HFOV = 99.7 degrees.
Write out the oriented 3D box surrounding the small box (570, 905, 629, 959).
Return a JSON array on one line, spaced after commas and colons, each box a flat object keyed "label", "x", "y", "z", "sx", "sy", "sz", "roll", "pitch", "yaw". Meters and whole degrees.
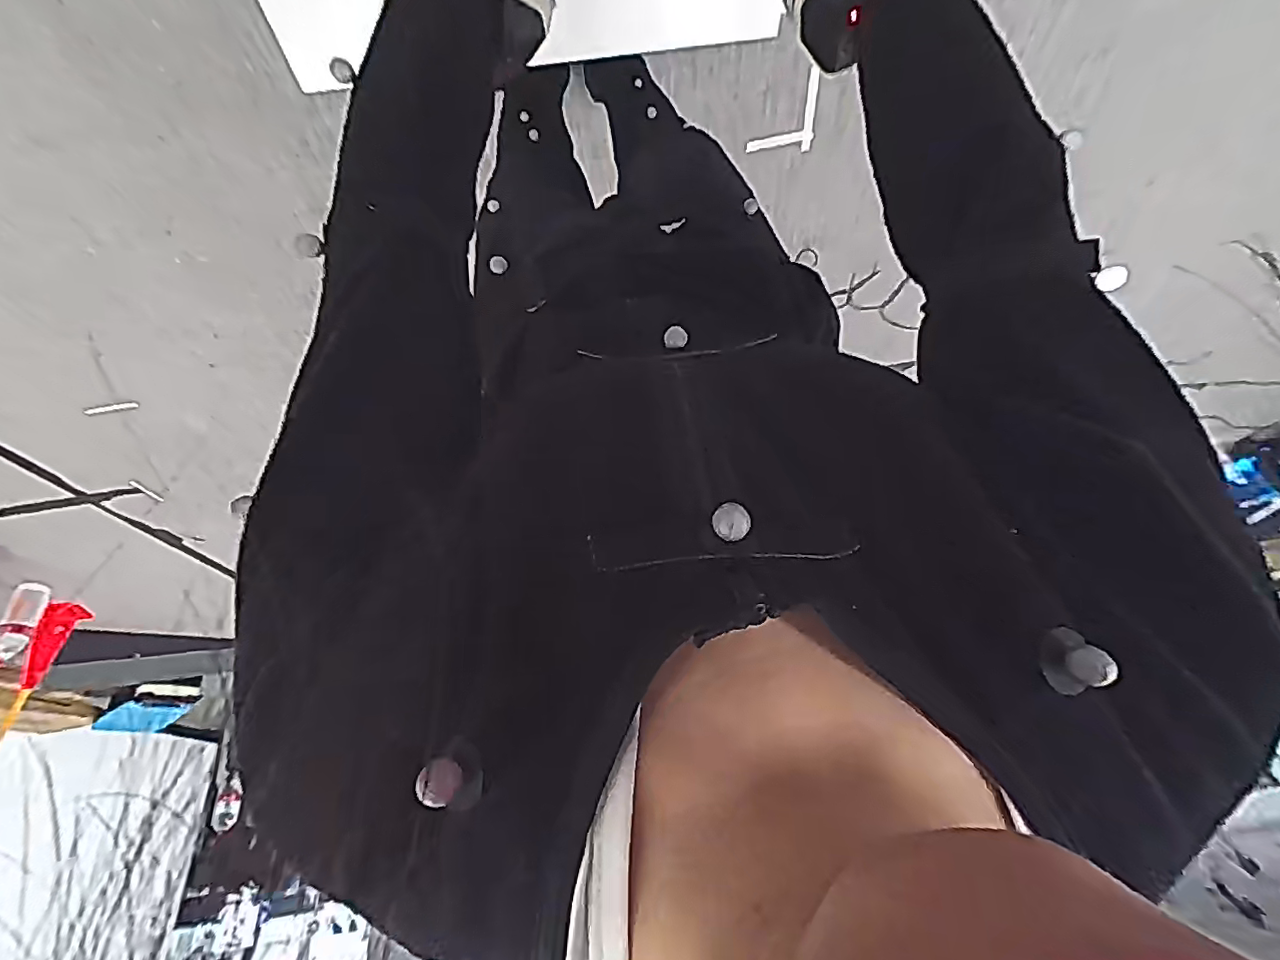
[{"label": "small box", "x": -0.128, "y": 1.509, "z": 1.760, "sx": 0.168, "sy": 0.176, "sz": 0.179, "roll": -10, "pitch": 148, "yaw": -3}]
